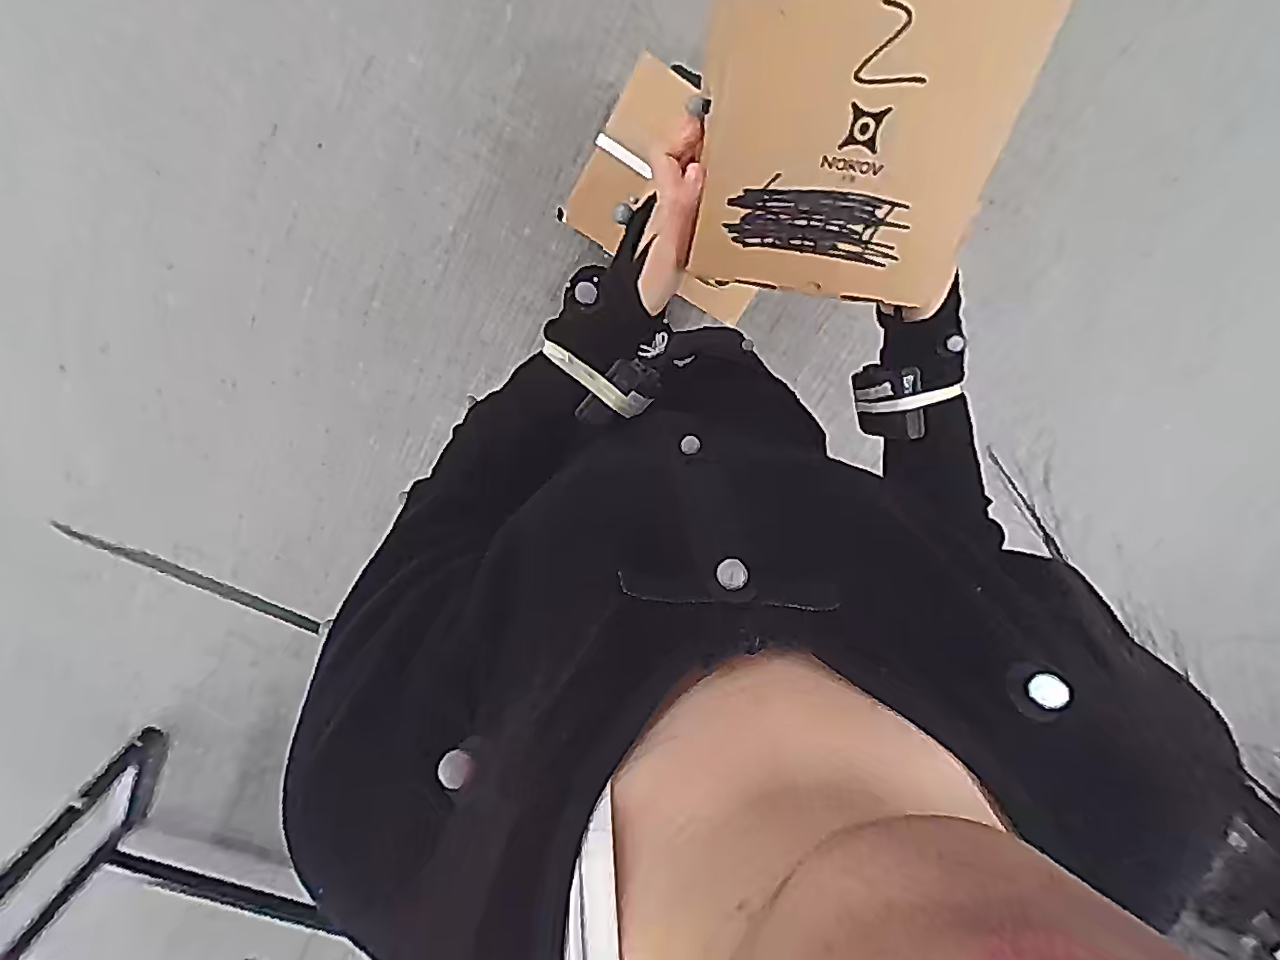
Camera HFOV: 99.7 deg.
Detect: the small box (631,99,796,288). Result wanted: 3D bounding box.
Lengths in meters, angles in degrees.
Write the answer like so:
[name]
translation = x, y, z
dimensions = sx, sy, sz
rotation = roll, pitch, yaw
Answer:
[small box]
translation = 0.094, -0.412, 0.802
dimensions = 0.168, 0.176, 0.179
rotation = 28, 111, -12
